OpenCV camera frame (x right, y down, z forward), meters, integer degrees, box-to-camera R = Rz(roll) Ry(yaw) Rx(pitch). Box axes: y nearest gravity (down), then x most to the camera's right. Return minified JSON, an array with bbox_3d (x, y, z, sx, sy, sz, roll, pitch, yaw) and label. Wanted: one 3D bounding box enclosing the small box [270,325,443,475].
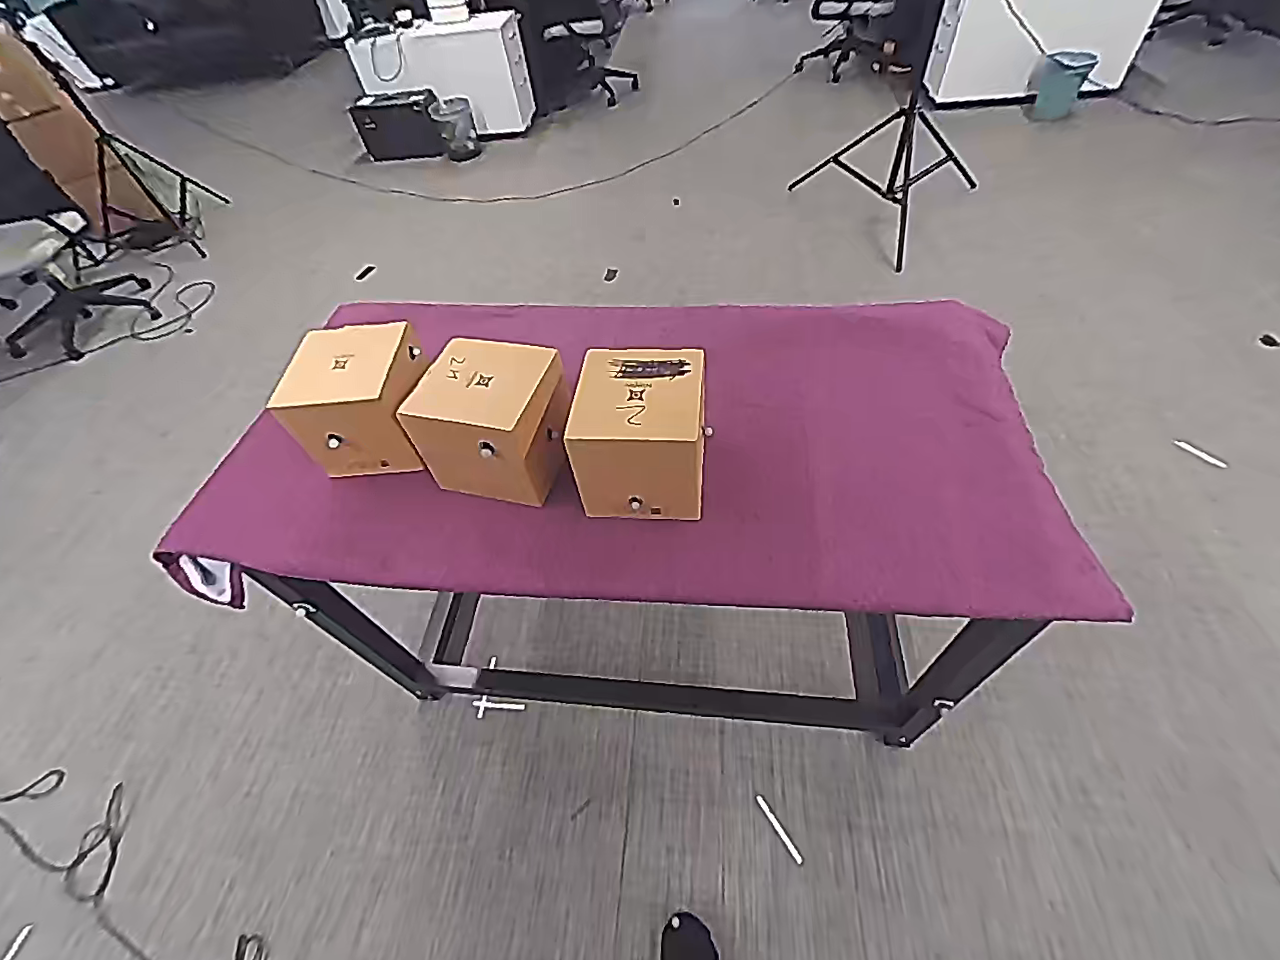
[{"bbox_3d":[-0.436,-0.121,0.869,0.168,0.176,0.179,-5,52,3],"label":"small box"}]
